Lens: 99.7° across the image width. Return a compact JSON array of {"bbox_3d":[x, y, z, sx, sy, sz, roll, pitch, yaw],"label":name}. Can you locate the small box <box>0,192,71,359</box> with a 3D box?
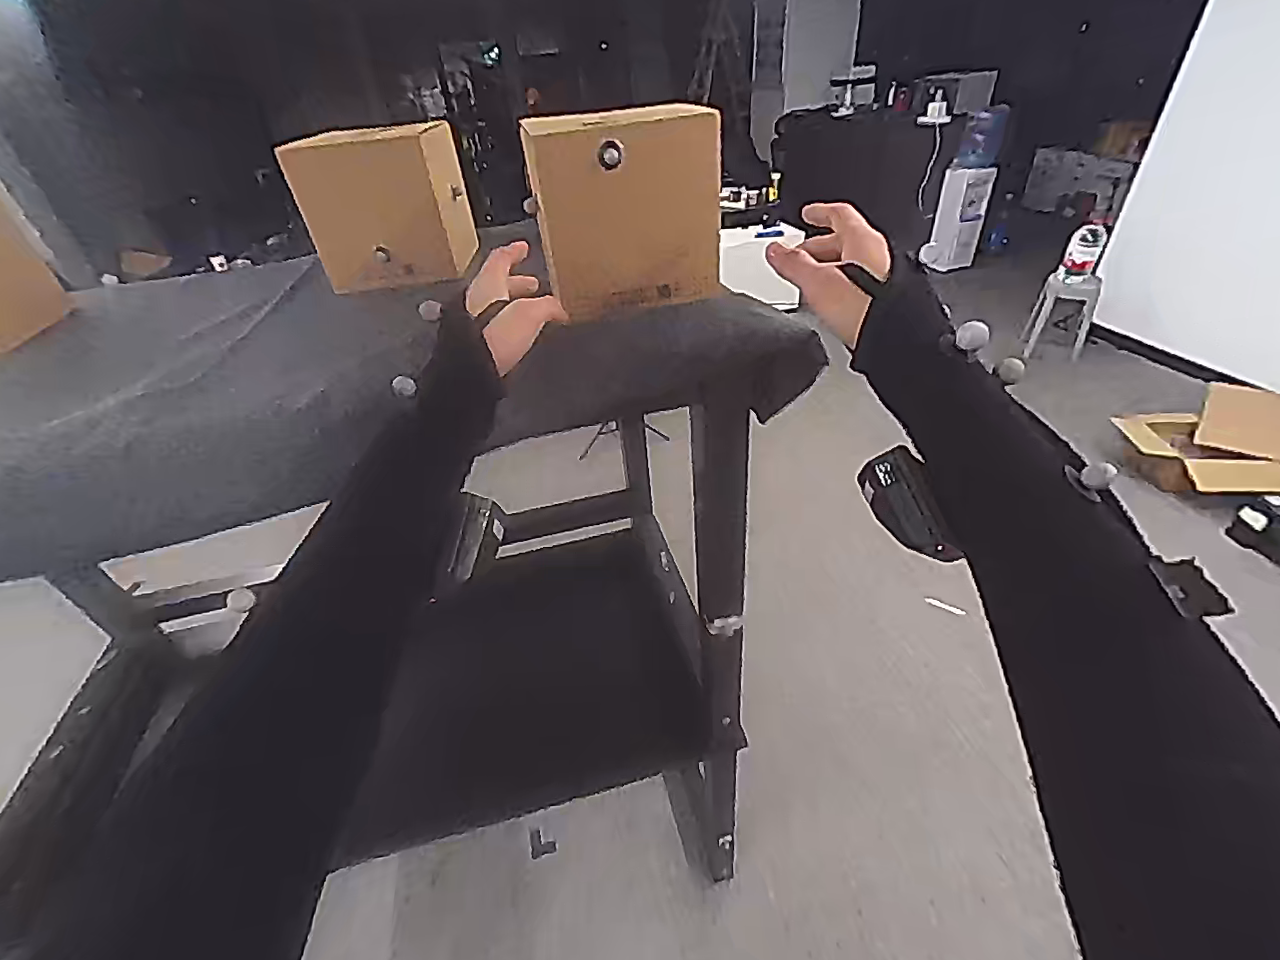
[{"bbox_3d":[-0.839,-0.236,0.627,0.168,0.176,0.179,-13,39,-10],"label":"small box"}]

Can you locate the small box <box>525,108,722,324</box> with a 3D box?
[{"bbox_3d":[-0.020,-0.277,0.564,0.168,0.176,0.179,-12,36,-7],"label":"small box"}]
